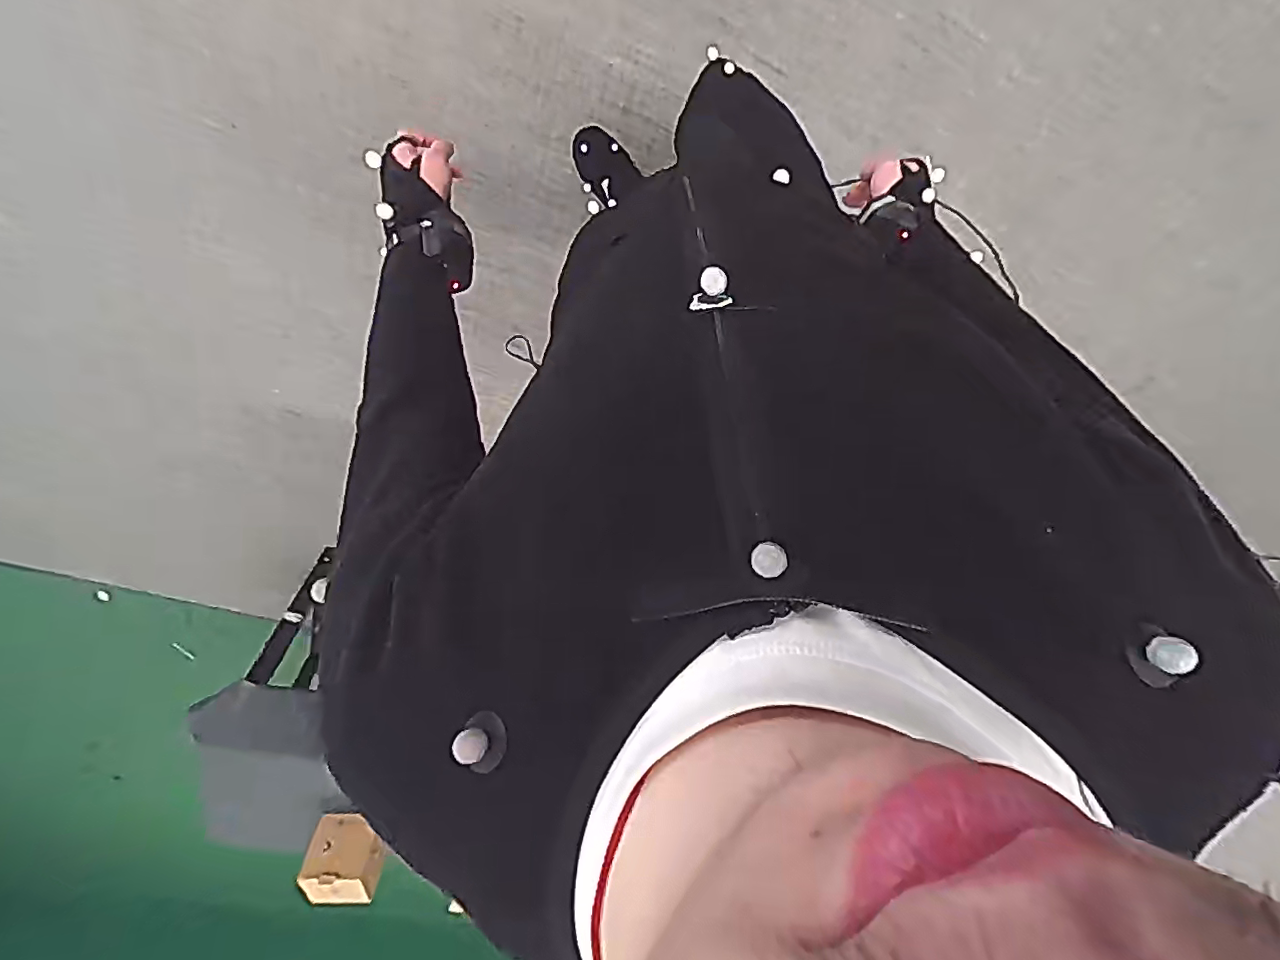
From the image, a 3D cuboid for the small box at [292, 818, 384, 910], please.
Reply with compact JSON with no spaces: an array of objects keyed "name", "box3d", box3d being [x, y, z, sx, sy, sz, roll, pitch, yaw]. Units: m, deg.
[{"name":"small box","box3d":[-0.850,1.090,1.540,0.168,0.176,0.179,7,125,-5]}]
